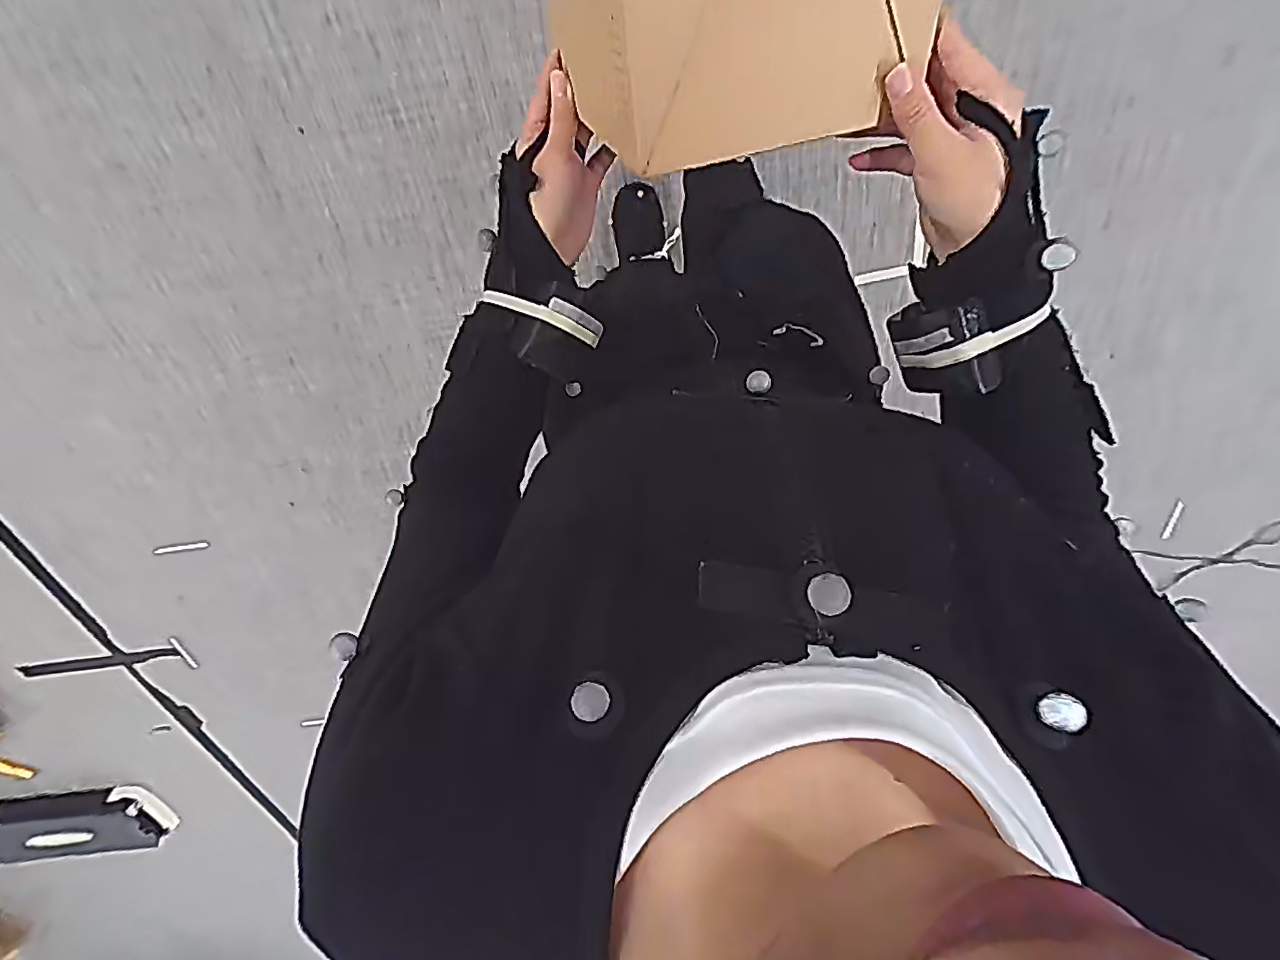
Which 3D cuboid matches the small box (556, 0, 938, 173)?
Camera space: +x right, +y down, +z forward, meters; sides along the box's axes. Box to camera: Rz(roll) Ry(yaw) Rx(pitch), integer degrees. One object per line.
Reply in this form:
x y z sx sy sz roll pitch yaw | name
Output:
0.046 -0.295 0.285 0.168 0.176 0.179 -17 138 -8 | small box
